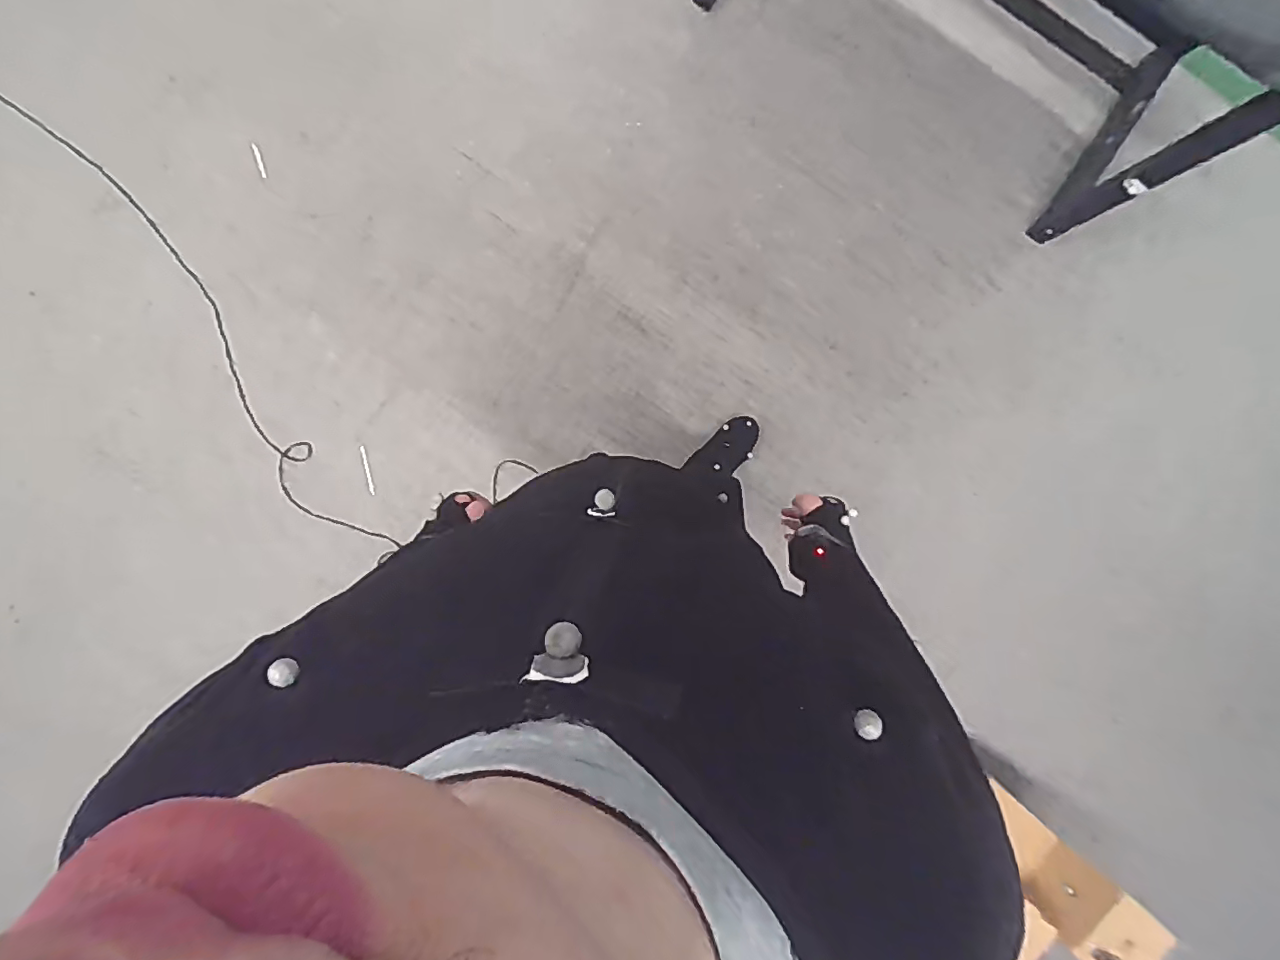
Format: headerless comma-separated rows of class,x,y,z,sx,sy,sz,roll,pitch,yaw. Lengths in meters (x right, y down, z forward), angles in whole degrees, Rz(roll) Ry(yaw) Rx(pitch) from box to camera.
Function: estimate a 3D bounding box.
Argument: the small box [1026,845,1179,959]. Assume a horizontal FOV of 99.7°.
small box,1.027,0.992,1.224,0.168,0.176,0.179,43,88,-4
